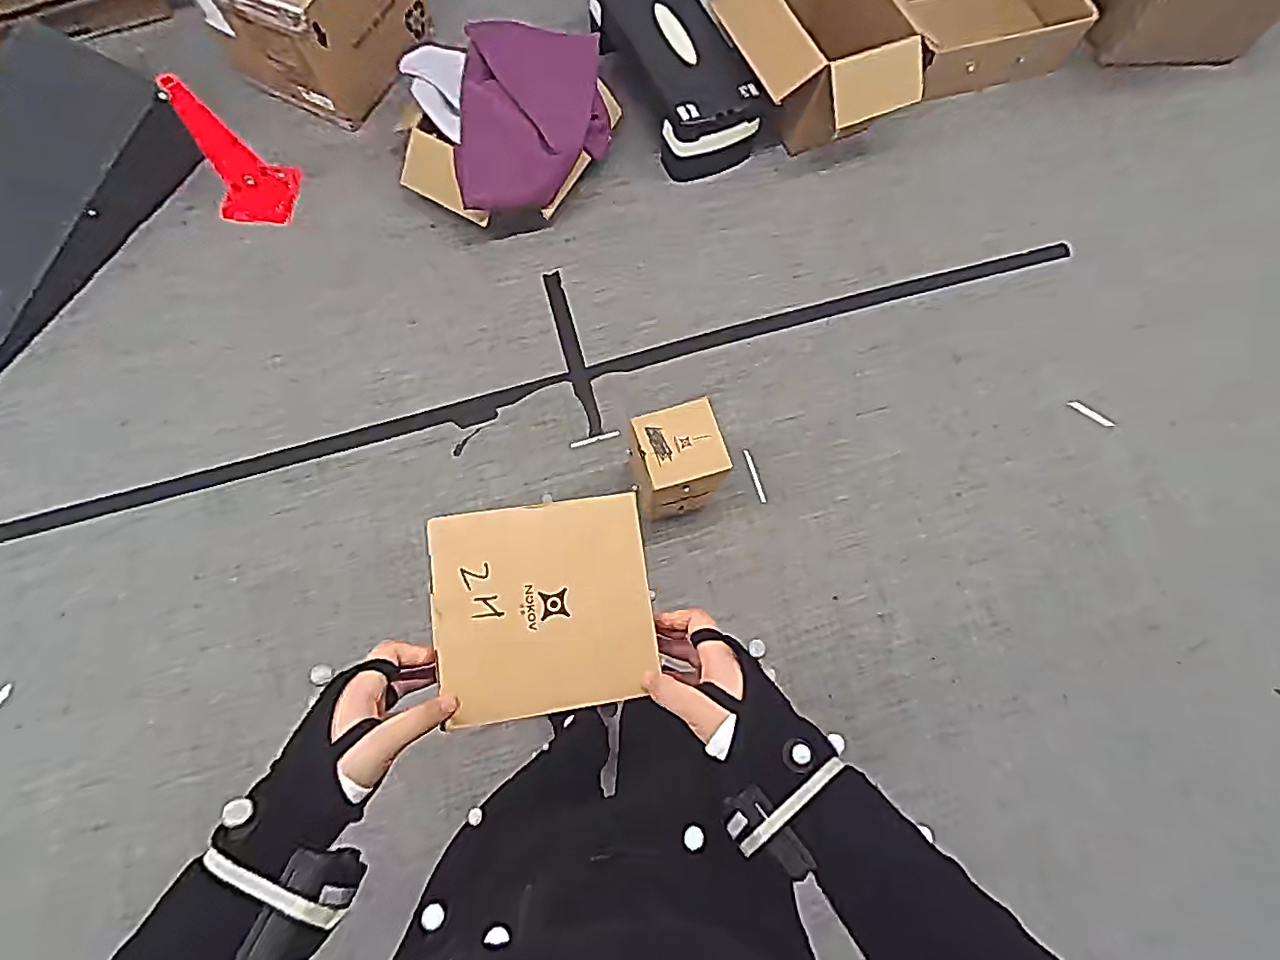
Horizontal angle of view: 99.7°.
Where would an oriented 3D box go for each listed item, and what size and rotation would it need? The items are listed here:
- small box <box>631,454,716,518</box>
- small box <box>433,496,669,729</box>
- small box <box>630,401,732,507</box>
[{"bbox_3d":[0.078,-0.009,1.364,0.168,0.176,0.179,-15,77,-7],"label":"small box"},{"bbox_3d":[-0.081,0.117,0.512,0.179,0.176,0.168,-7,78,-7],"label":"small box"},{"bbox_3d":[0.082,-0.051,1.203,0.179,0.176,0.168,-16,77,-8],"label":"small box"}]
